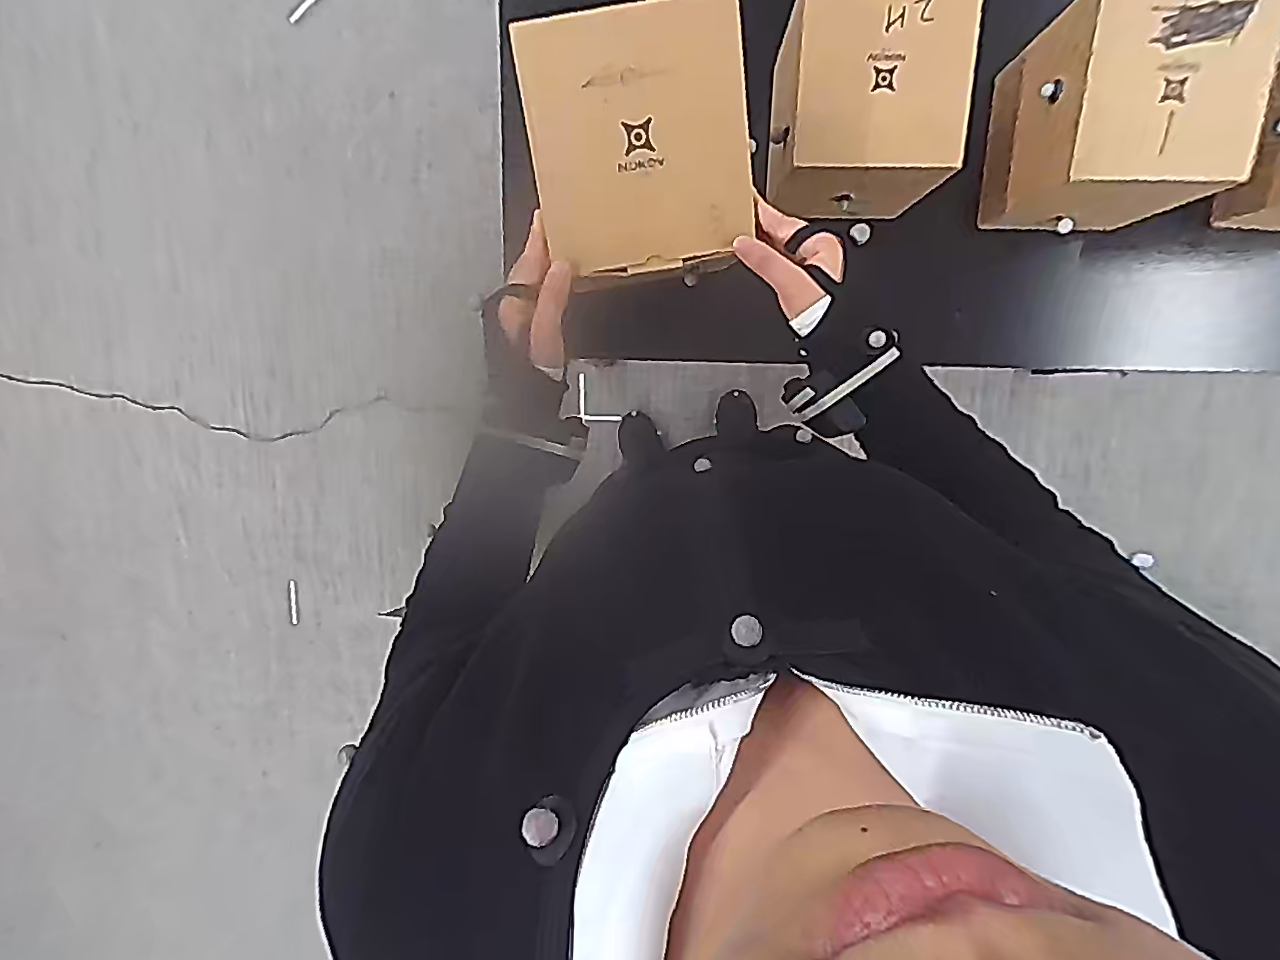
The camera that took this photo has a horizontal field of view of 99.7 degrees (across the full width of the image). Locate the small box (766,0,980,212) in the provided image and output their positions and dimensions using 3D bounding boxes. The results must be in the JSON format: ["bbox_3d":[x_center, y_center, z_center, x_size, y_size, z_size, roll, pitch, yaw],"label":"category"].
[{"bbox_3d":[0.238,-0.410,0.596,0.168,0.176,0.179,2,100,3],"label":"small box"}]

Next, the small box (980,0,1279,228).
[{"bbox_3d":[0.502,-0.391,0.583,0.168,0.176,0.179,2,101,3],"label":"small box"}]

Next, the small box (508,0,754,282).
[{"bbox_3d":[-0.002,-0.278,0.478,0.168,0.176,0.179,-8,106,2],"label":"small box"}]

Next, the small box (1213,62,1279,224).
[{"bbox_3d":[0.782,-0.377,0.568,0.179,0.176,0.168,5,100,4],"label":"small box"}]
